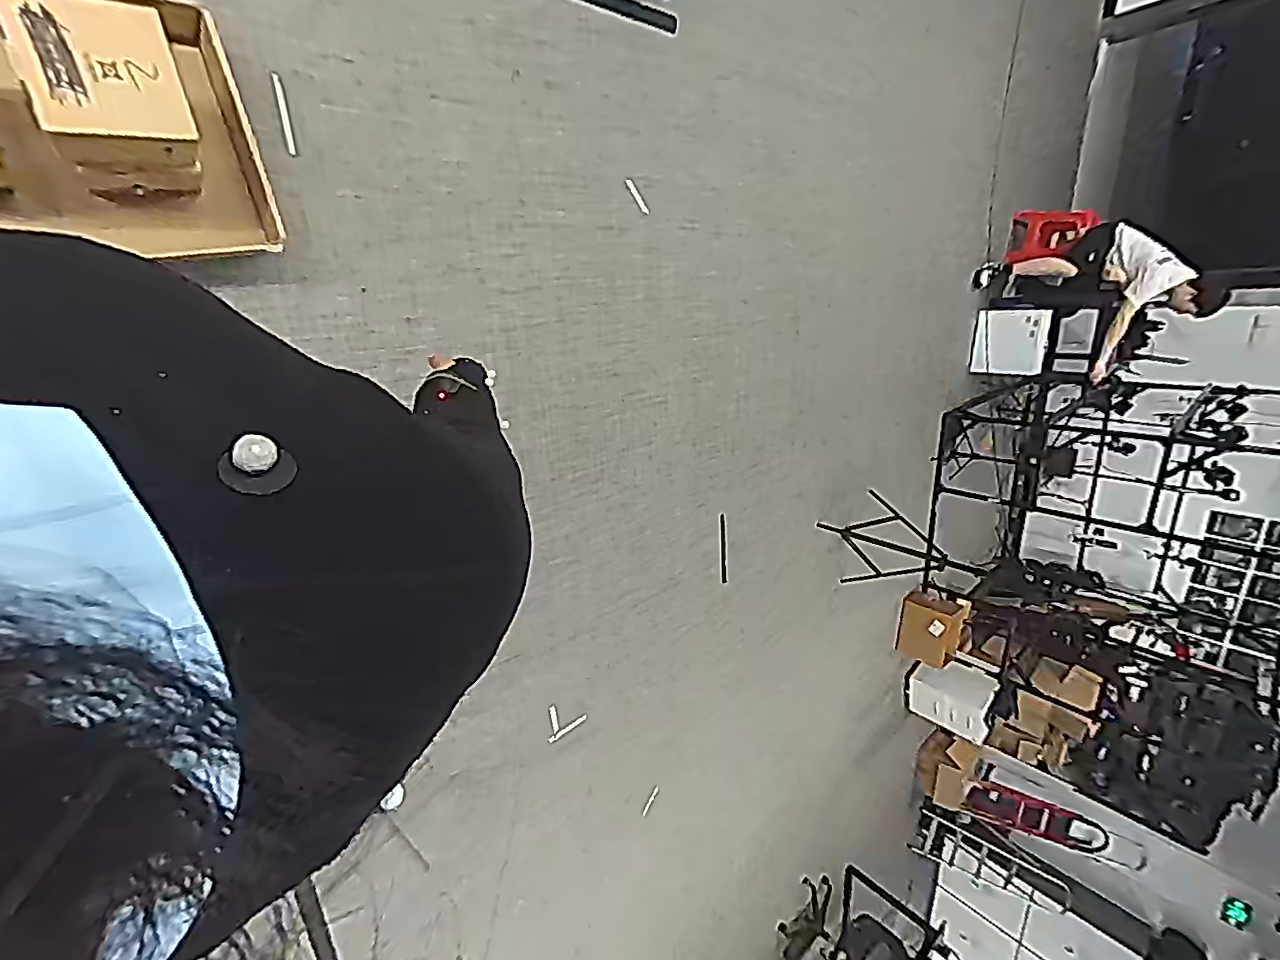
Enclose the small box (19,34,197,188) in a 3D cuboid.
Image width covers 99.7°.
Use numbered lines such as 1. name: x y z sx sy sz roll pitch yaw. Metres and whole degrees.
1. small box: -0.900 -0.618 0.930 0.168 0.176 0.179 -23 117 -35
